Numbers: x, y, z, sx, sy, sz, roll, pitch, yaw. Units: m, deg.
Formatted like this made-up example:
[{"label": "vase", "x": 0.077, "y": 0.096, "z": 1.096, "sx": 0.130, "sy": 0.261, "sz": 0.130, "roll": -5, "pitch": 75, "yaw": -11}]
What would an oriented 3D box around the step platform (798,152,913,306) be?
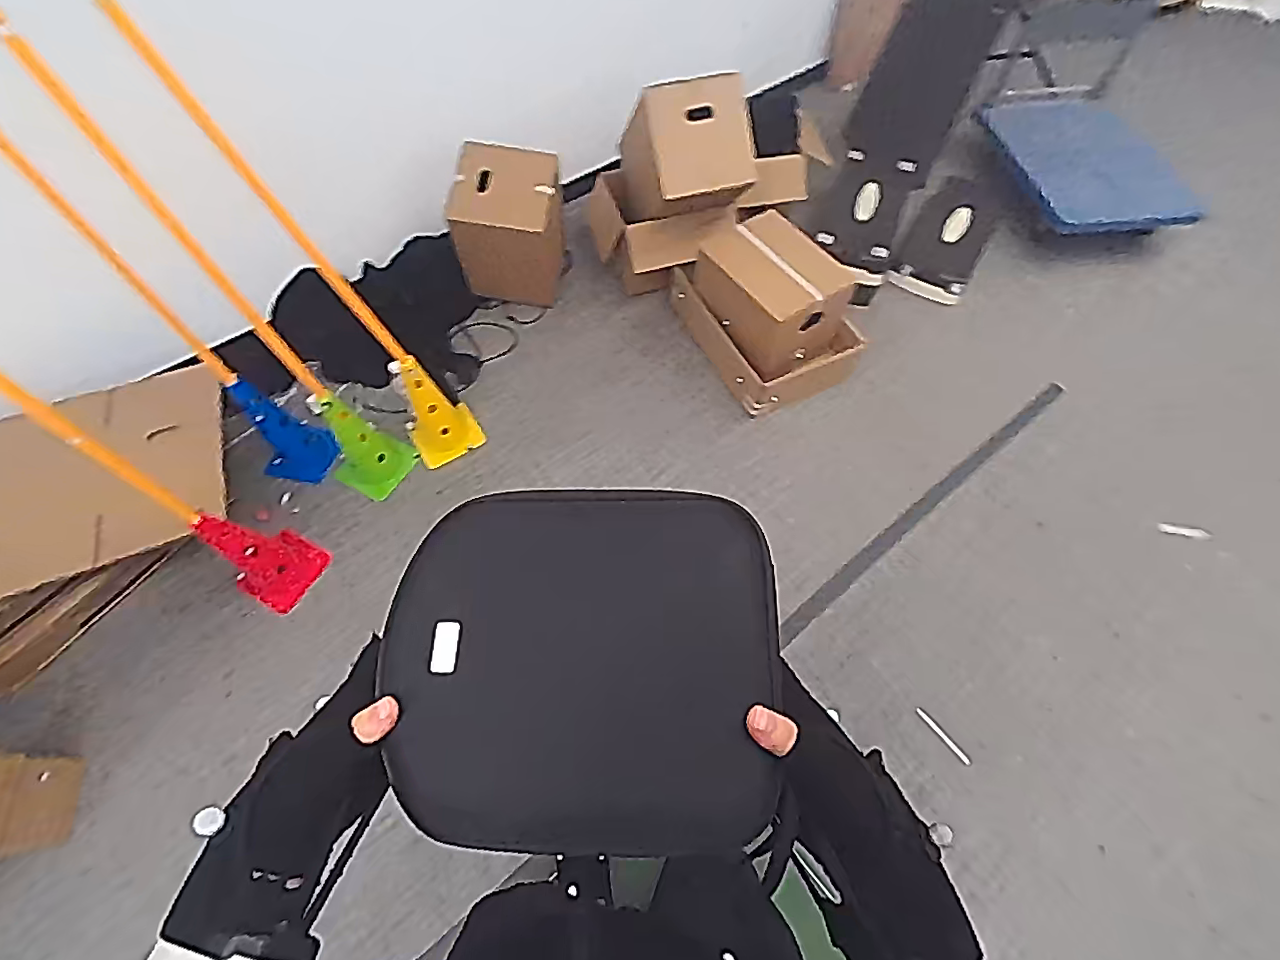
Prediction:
[{"label": "step platform", "x": 0.854, "y": -1.004, "z": 2.124, "sx": 0.286, "sy": 0.204, "sz": 0.684, "roll": 20, "pitch": 64, "yaw": 10}]
